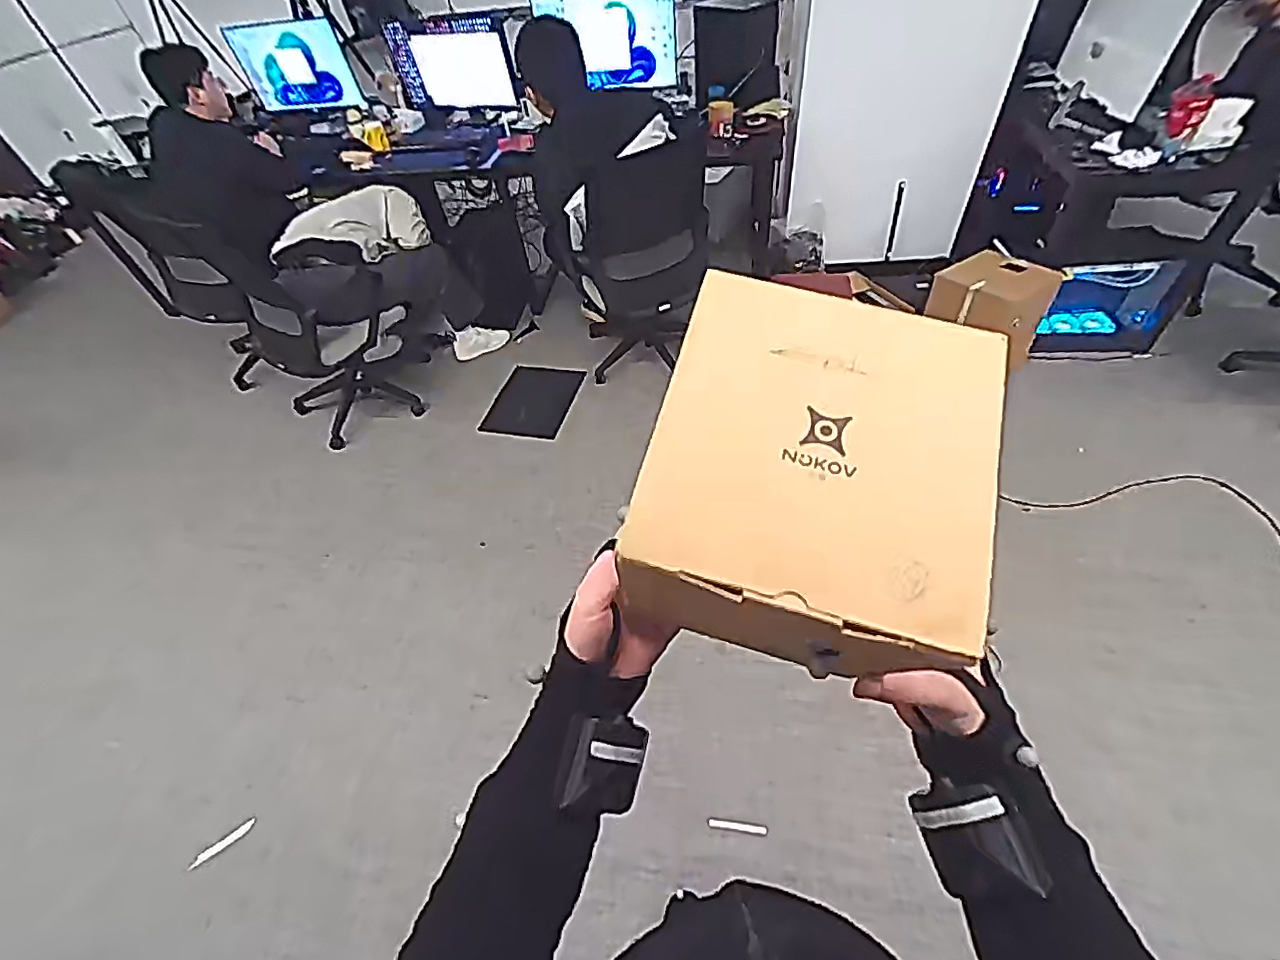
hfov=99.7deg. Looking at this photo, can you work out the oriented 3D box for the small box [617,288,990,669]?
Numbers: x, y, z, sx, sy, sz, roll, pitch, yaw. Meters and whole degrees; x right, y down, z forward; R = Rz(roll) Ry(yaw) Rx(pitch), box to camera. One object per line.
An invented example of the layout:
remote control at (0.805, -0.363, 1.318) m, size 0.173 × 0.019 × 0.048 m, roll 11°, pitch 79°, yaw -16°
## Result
small box at (0.091, 0.014, 0.353) m, size 0.168 × 0.176 × 0.179 m, roll 15°, pitch 69°, yaw 6°
